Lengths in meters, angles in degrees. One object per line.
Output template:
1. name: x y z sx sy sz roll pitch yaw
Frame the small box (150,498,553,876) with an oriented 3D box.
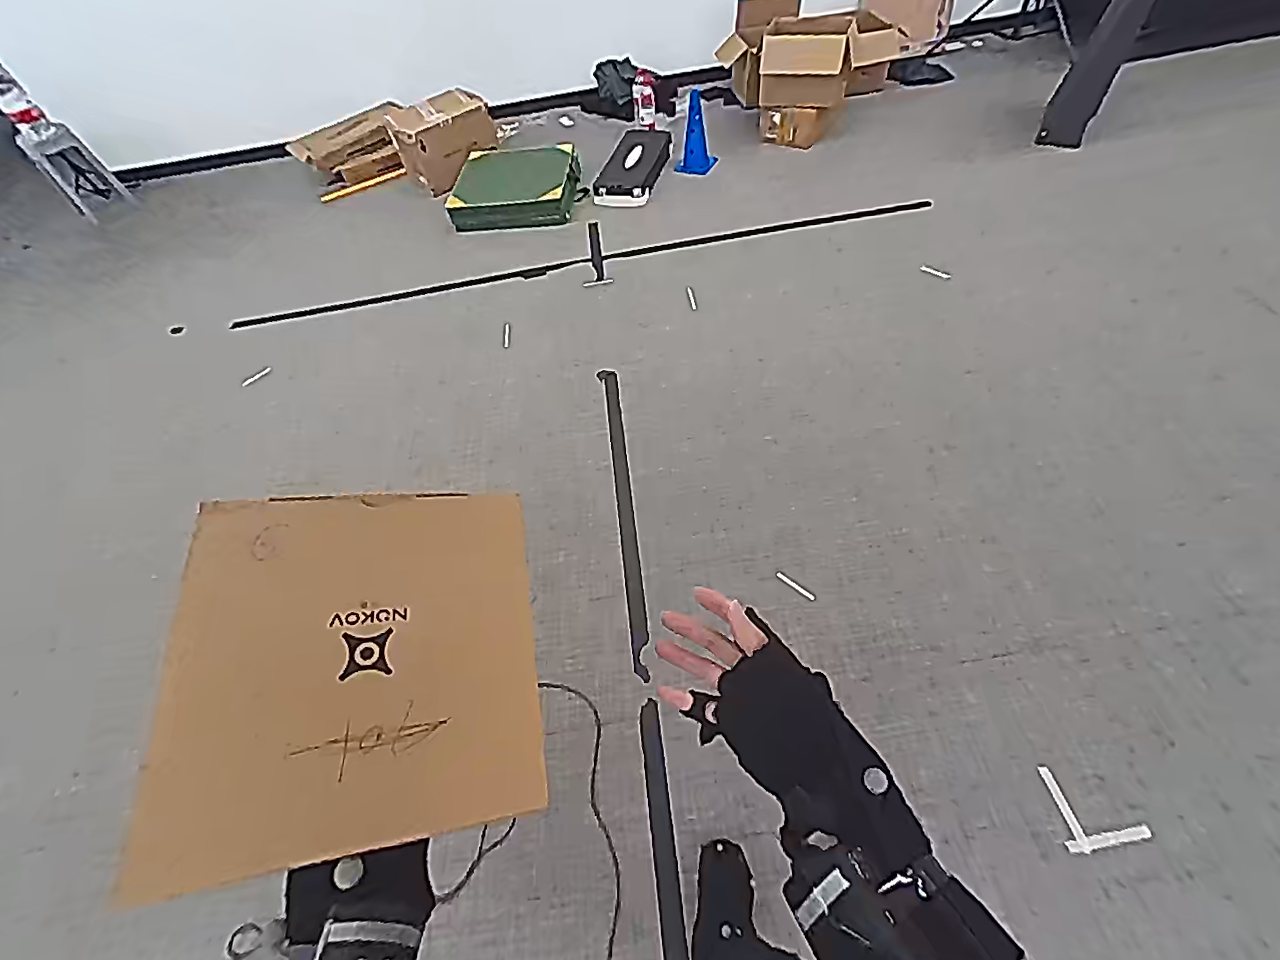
1. small box: -0.159 0.127 0.347 0.168 0.176 0.179 0 59 -21
